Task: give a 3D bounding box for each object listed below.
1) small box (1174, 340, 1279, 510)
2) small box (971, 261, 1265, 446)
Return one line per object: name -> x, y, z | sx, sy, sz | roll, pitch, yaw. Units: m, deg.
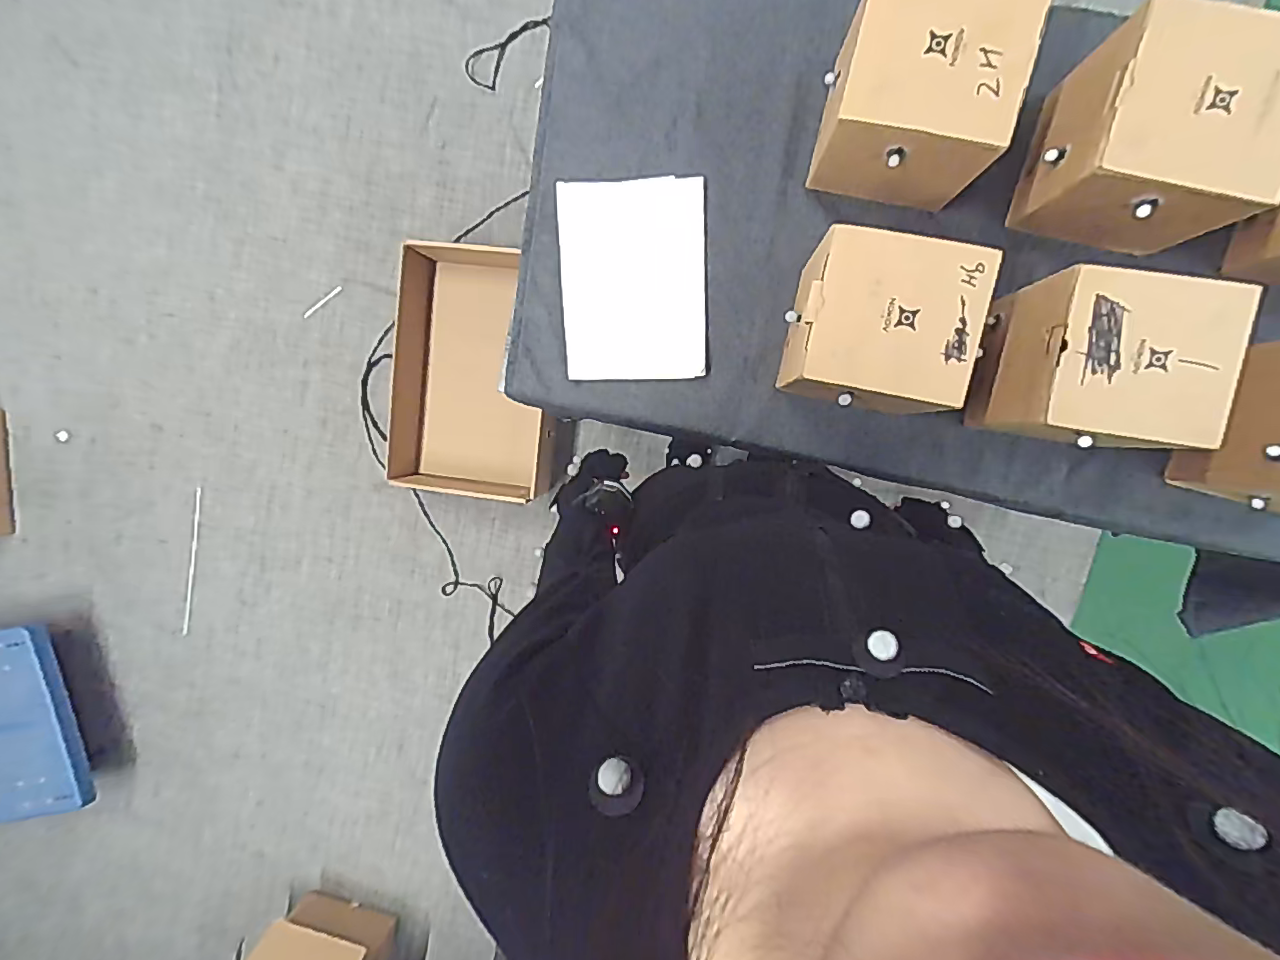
small box -> 0.768, -0.057, 0.602 | 0.168, 0.176, 0.179 | 15, 96, 4
small box -> 0.518, -0.131, 0.618 | 0.179, 0.176, 0.168 | 9, 95, 4
